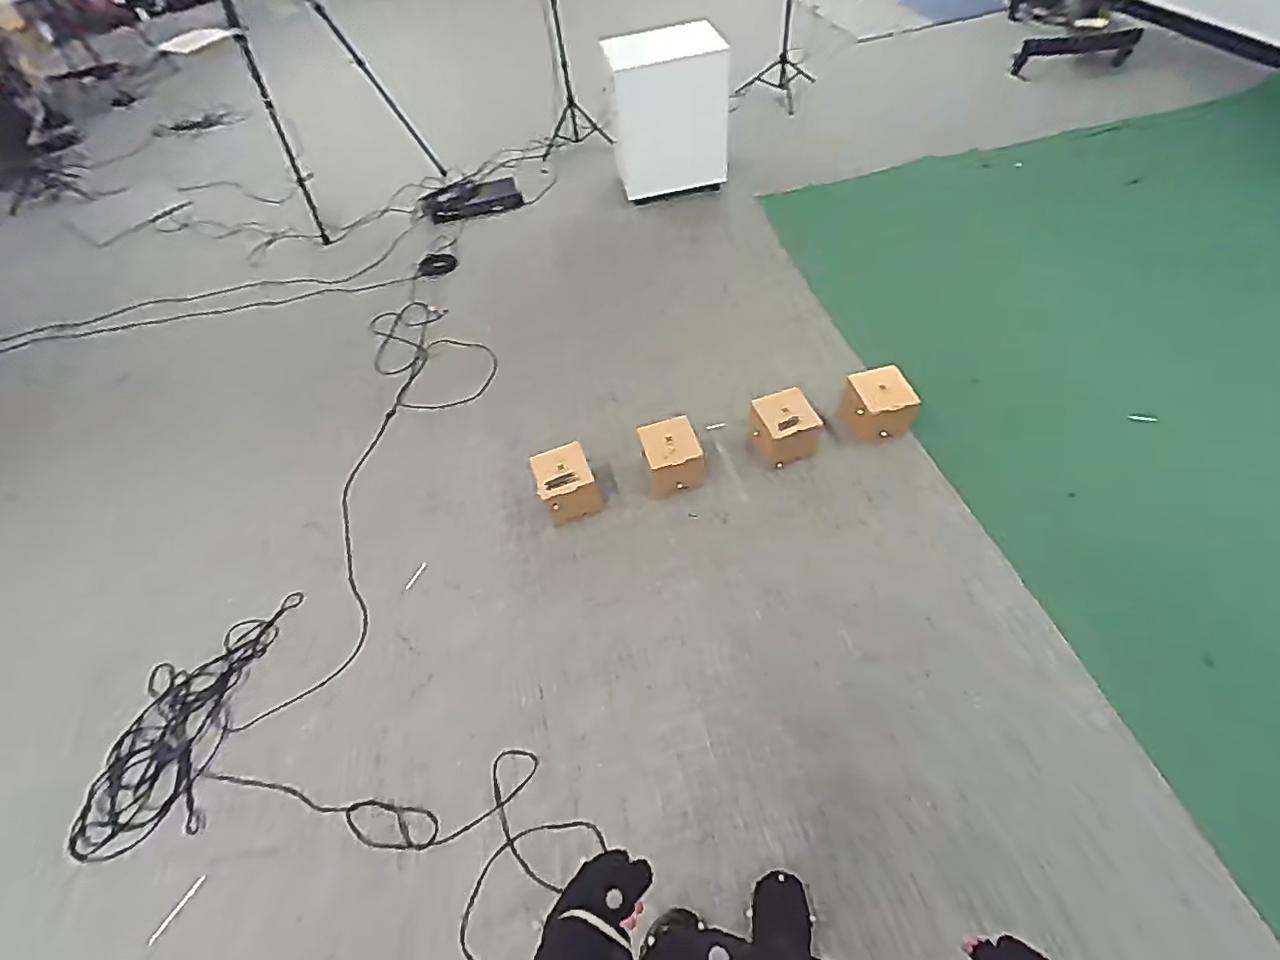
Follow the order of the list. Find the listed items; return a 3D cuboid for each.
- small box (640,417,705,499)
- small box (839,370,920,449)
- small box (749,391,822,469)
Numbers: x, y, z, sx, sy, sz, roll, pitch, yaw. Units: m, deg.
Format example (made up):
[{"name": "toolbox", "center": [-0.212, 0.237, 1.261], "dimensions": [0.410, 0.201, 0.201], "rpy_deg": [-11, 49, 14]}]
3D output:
[{"name": "small box", "center": [0.104, -0.069, 1.737], "dimensions": [0.168, 0.176, 0.179], "rpy_deg": [-16, 55, -4]}, {"name": "small box", "center": [0.782, -0.232, 1.787], "dimensions": [0.168, 0.176, 0.179], "rpy_deg": [-13, 55, -3]}, {"name": "small box", "center": [0.468, -0.157, 1.764], "dimensions": [0.168, 0.176, 0.179], "rpy_deg": [-17, 54, -6]}]
